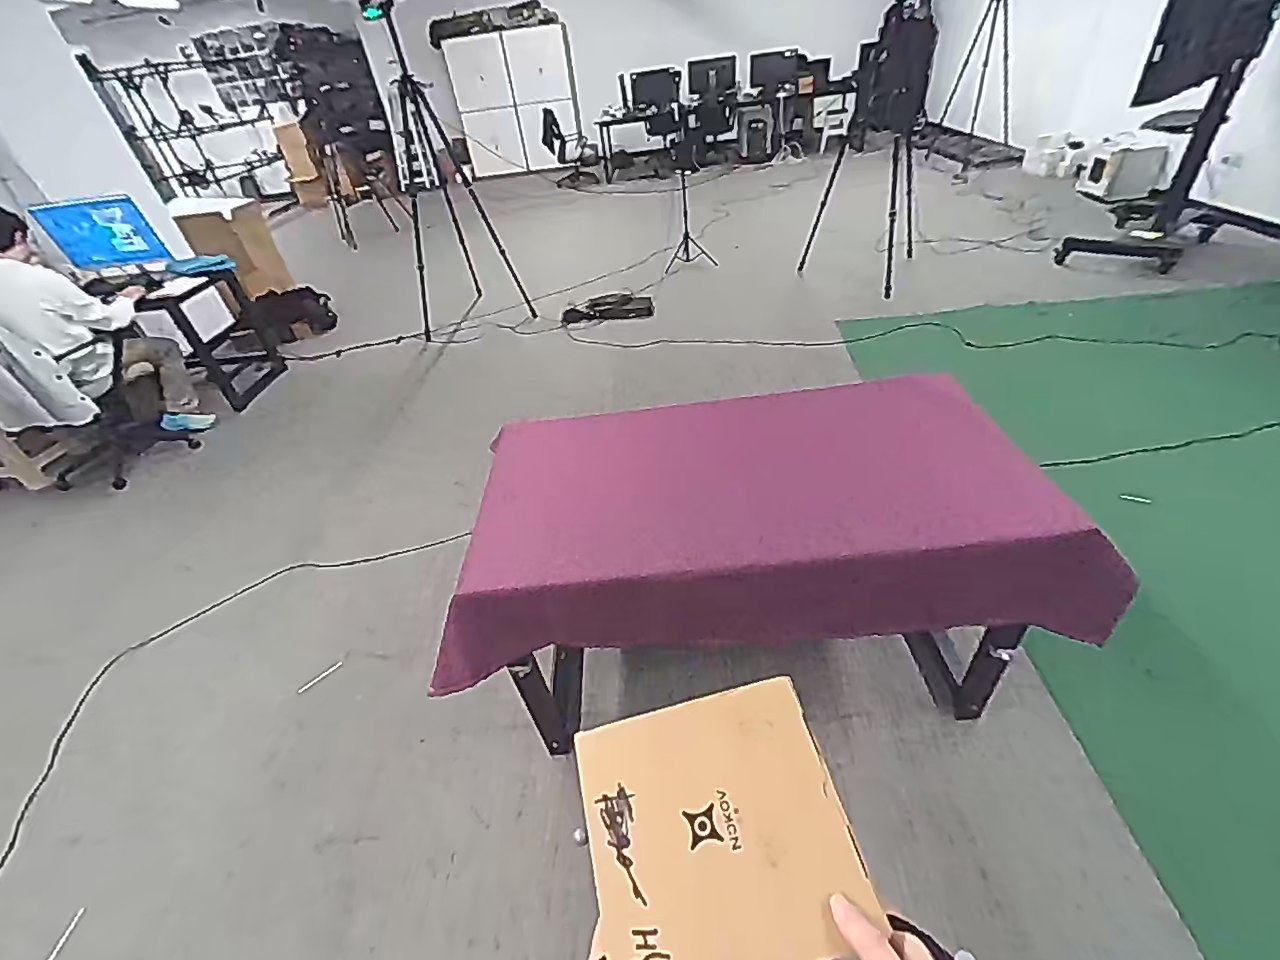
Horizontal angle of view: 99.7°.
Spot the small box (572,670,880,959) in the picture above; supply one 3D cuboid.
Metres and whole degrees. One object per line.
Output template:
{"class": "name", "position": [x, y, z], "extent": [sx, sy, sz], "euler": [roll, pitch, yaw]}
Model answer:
{"class": "small box", "position": [0.055, 0.279, 0.436], "extent": [0.179, 0.176, 0.168], "euler": [-14, 51, -4]}
